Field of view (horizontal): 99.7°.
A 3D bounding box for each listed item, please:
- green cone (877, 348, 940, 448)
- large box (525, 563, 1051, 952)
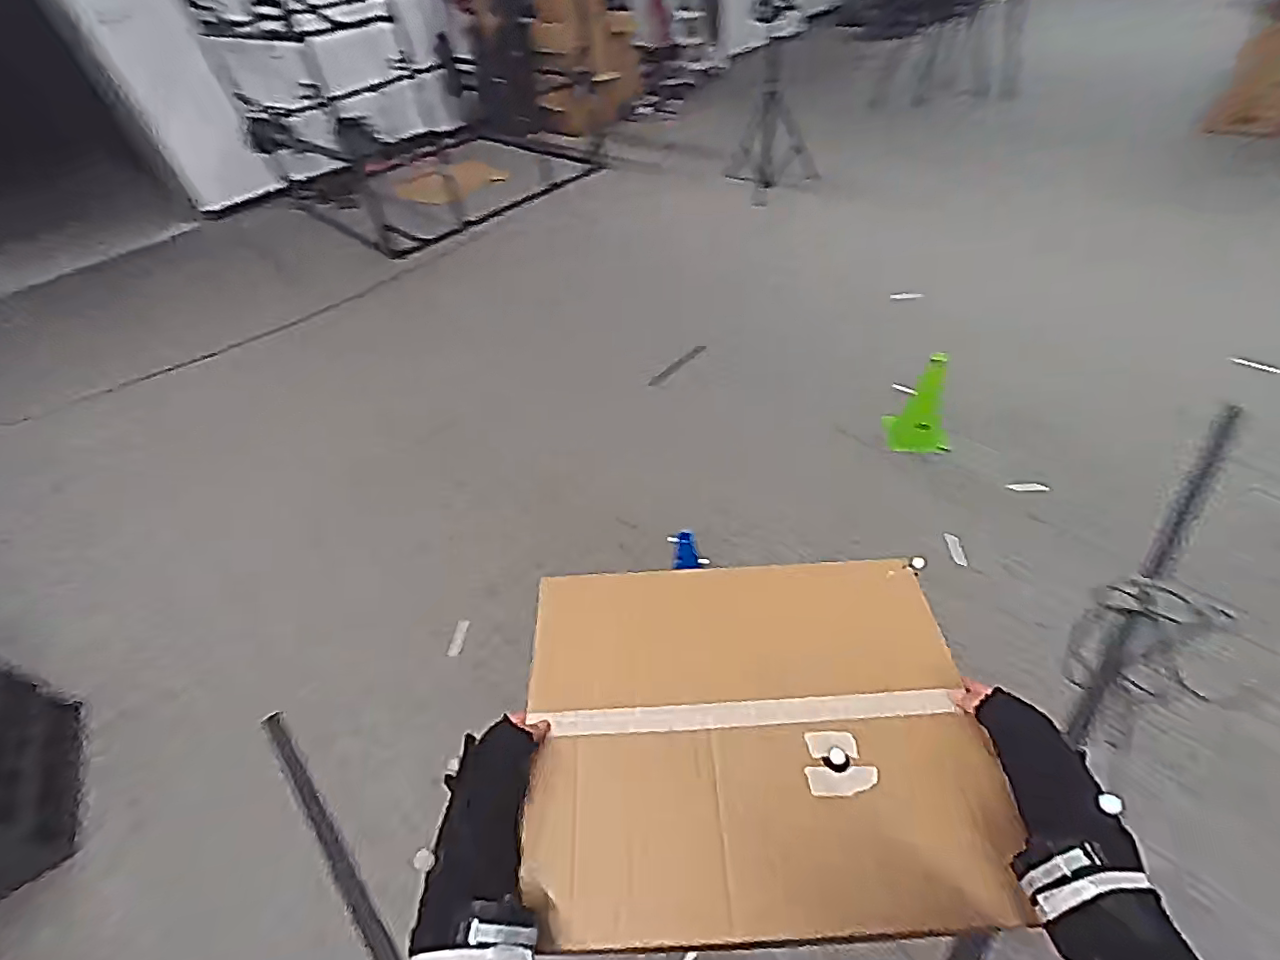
[{"bbox_3d":[1.003,-0.314,1.952,0.202,0.368,0.200,-1,46,11],"label":"green cone"},{"bbox_3d":[0.108,0.314,0.609,0.408,0.320,0.320,-2,49,0],"label":"large box"}]
